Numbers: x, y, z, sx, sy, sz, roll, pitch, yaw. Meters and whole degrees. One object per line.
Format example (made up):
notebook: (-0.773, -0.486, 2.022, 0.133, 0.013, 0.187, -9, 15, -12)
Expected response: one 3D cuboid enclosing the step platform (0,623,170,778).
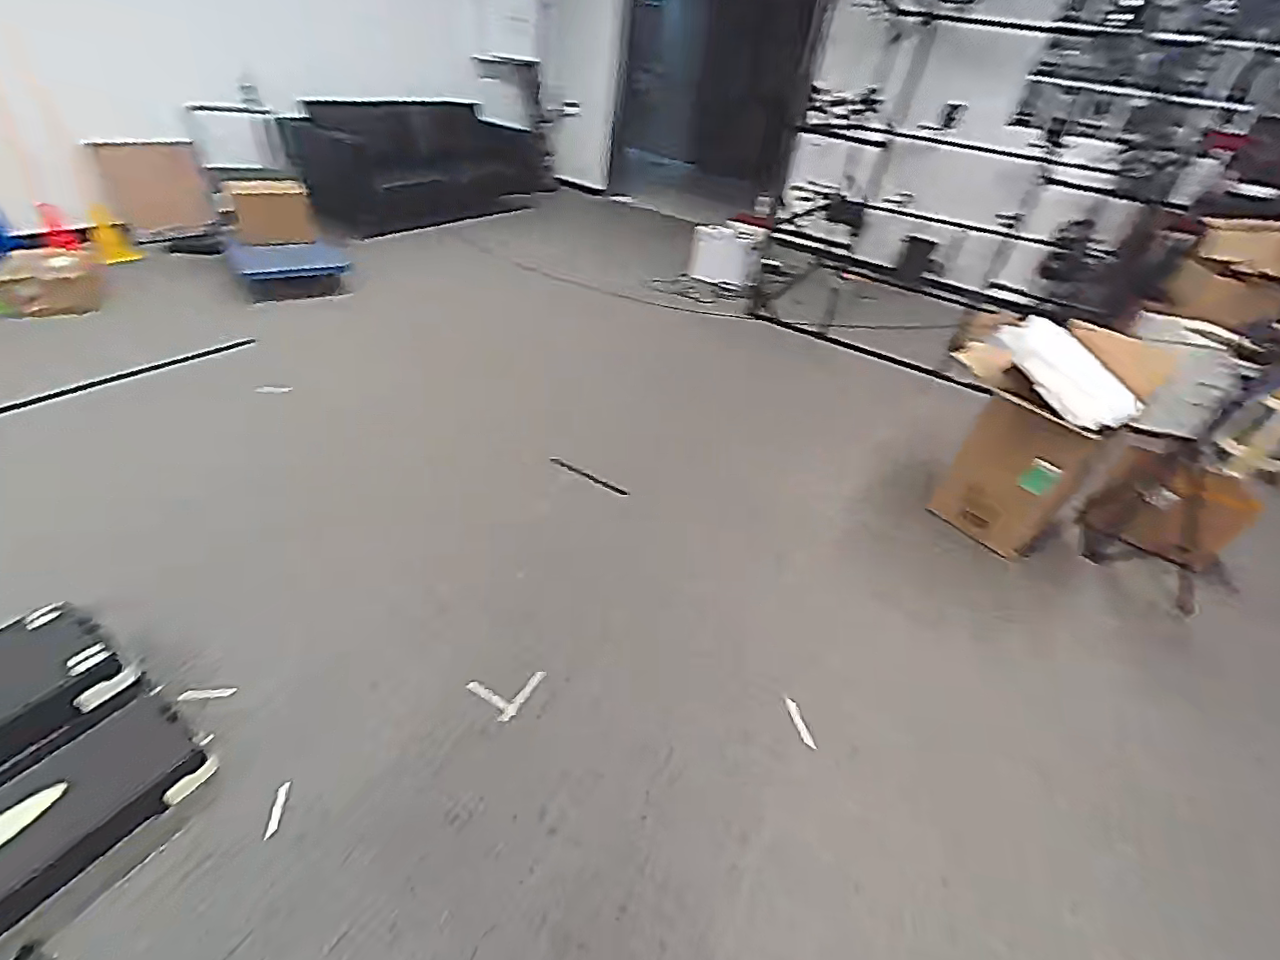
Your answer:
step platform: (-1.459, 0.606, 1.131, 0.286, 0.204, 0.684, 28, 39, 25)
